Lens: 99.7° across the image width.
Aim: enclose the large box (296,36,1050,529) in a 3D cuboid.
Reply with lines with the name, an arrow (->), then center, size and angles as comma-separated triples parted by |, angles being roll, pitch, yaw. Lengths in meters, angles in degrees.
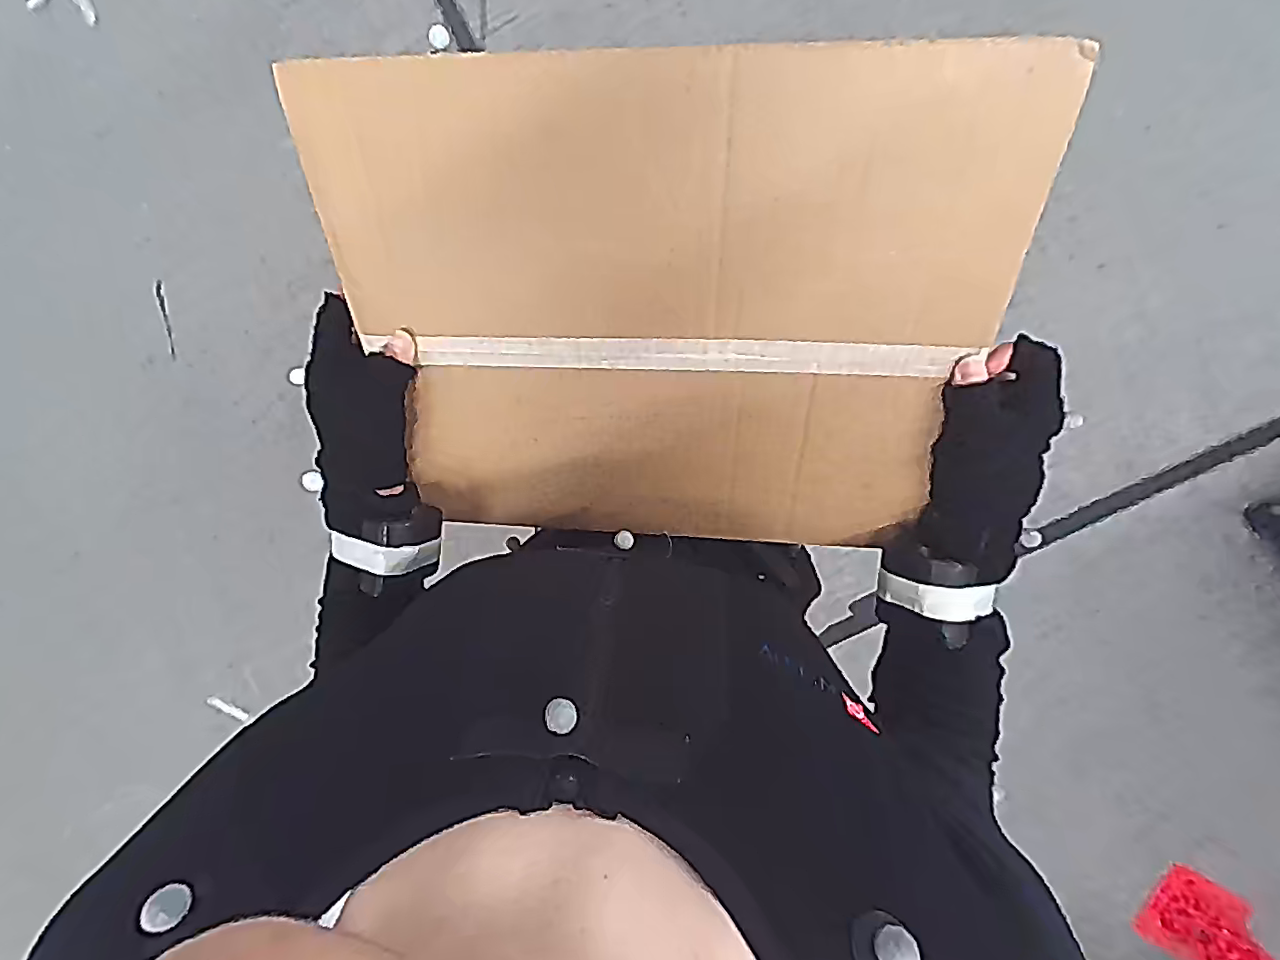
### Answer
large box -> 0.022, -0.175, 0.485 | 0.408, 0.320, 0.320 | 2, 127, 6
